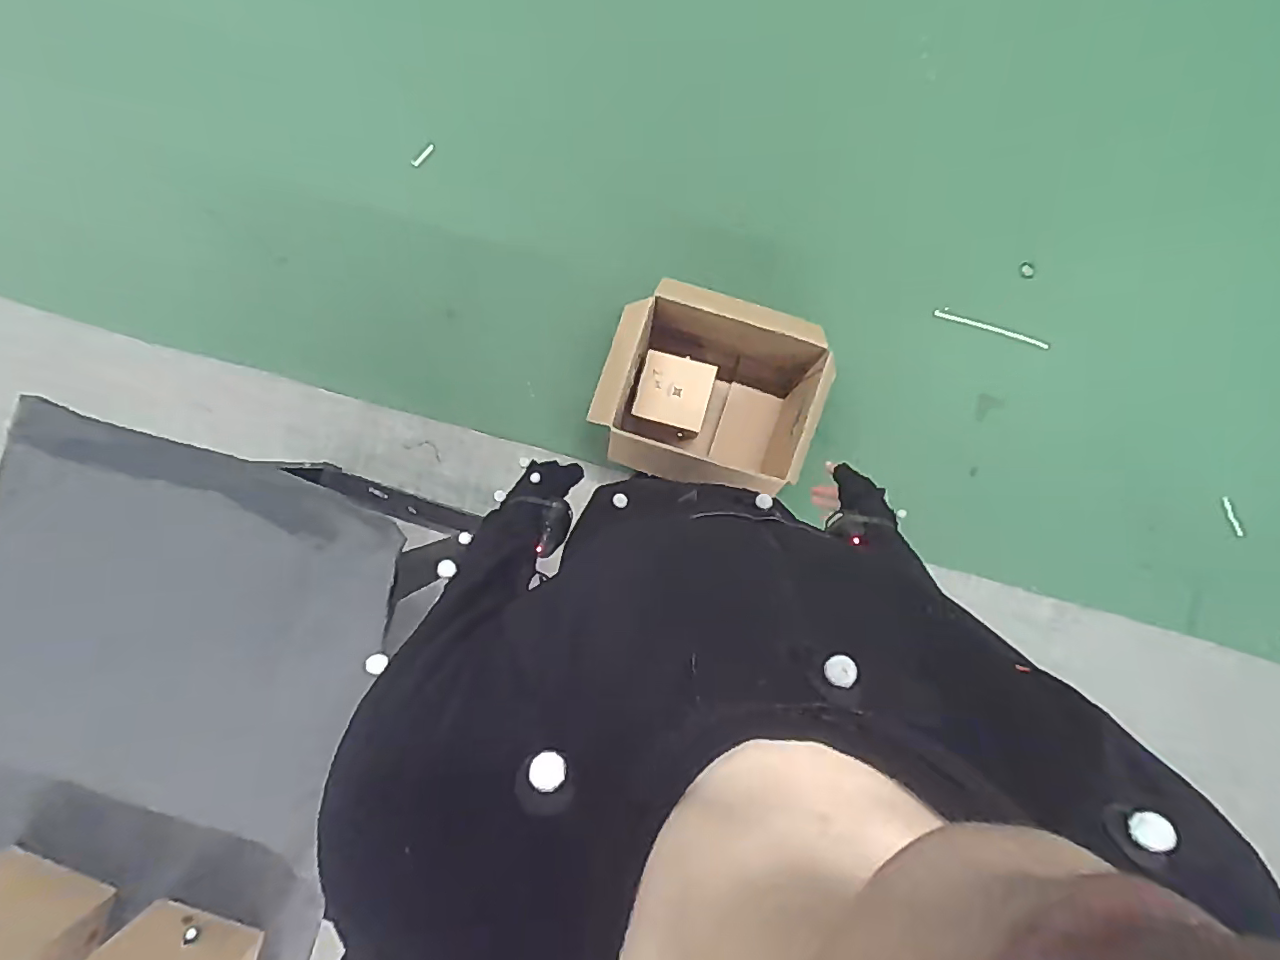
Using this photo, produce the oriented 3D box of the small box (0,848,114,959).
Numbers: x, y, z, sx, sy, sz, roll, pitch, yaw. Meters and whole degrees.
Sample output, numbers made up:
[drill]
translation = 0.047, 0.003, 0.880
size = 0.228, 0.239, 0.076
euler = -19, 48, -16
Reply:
[small box]
translation = -0.868, 0.636, 0.712
size = 0.179, 0.176, 0.168
euler = 22, 91, 2
